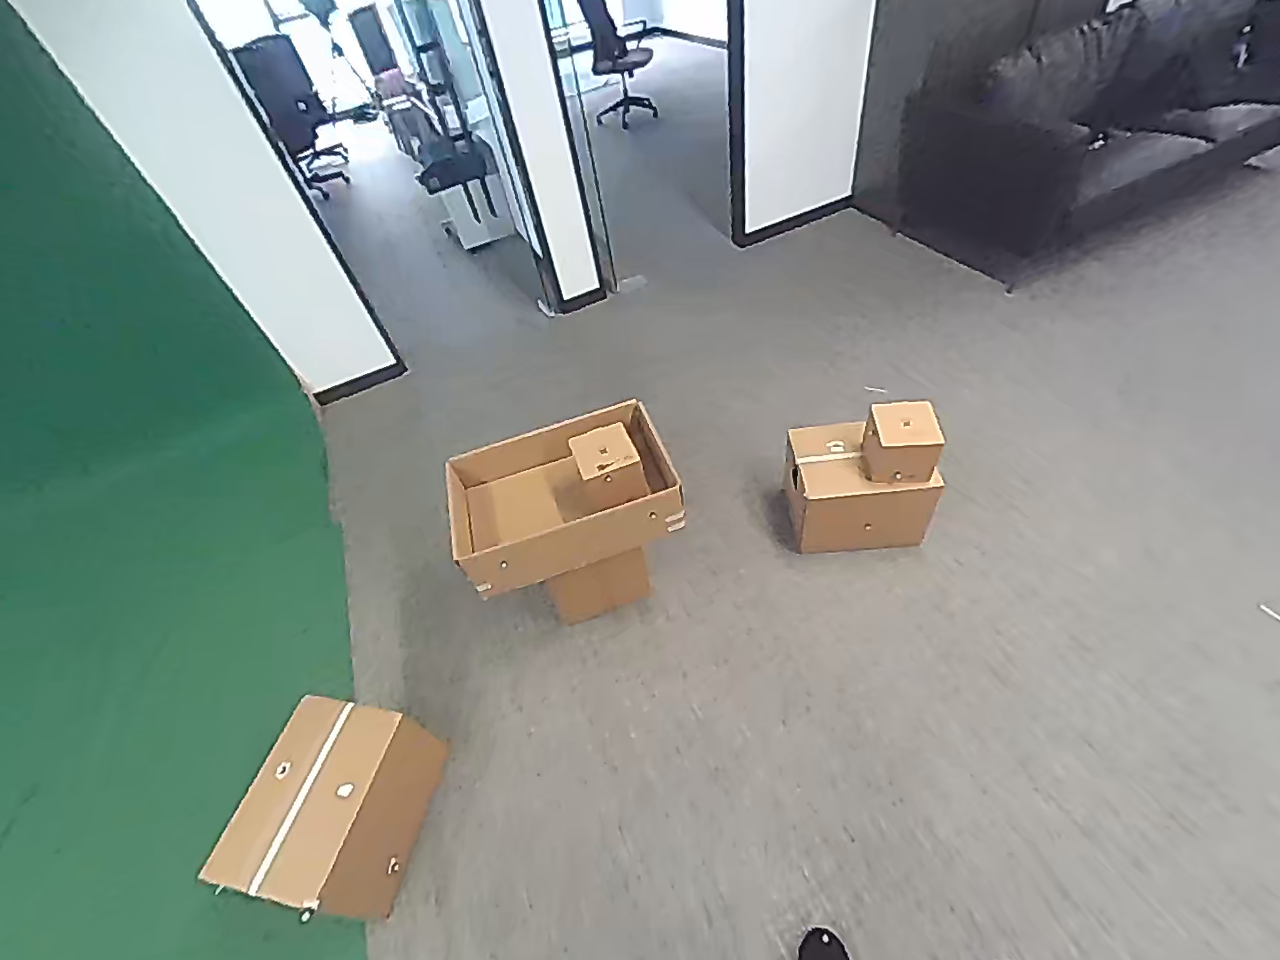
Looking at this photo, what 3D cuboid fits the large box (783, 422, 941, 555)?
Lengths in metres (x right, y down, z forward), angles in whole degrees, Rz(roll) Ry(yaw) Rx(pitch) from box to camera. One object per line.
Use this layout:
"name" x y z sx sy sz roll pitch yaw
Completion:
"large box" 0.718 0.027 1.822 0.408 0.320 0.320 -7 48 6

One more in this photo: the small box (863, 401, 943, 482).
"small box" 0.771 -0.112 1.604 0.168 0.176 0.179 -2 51 10
